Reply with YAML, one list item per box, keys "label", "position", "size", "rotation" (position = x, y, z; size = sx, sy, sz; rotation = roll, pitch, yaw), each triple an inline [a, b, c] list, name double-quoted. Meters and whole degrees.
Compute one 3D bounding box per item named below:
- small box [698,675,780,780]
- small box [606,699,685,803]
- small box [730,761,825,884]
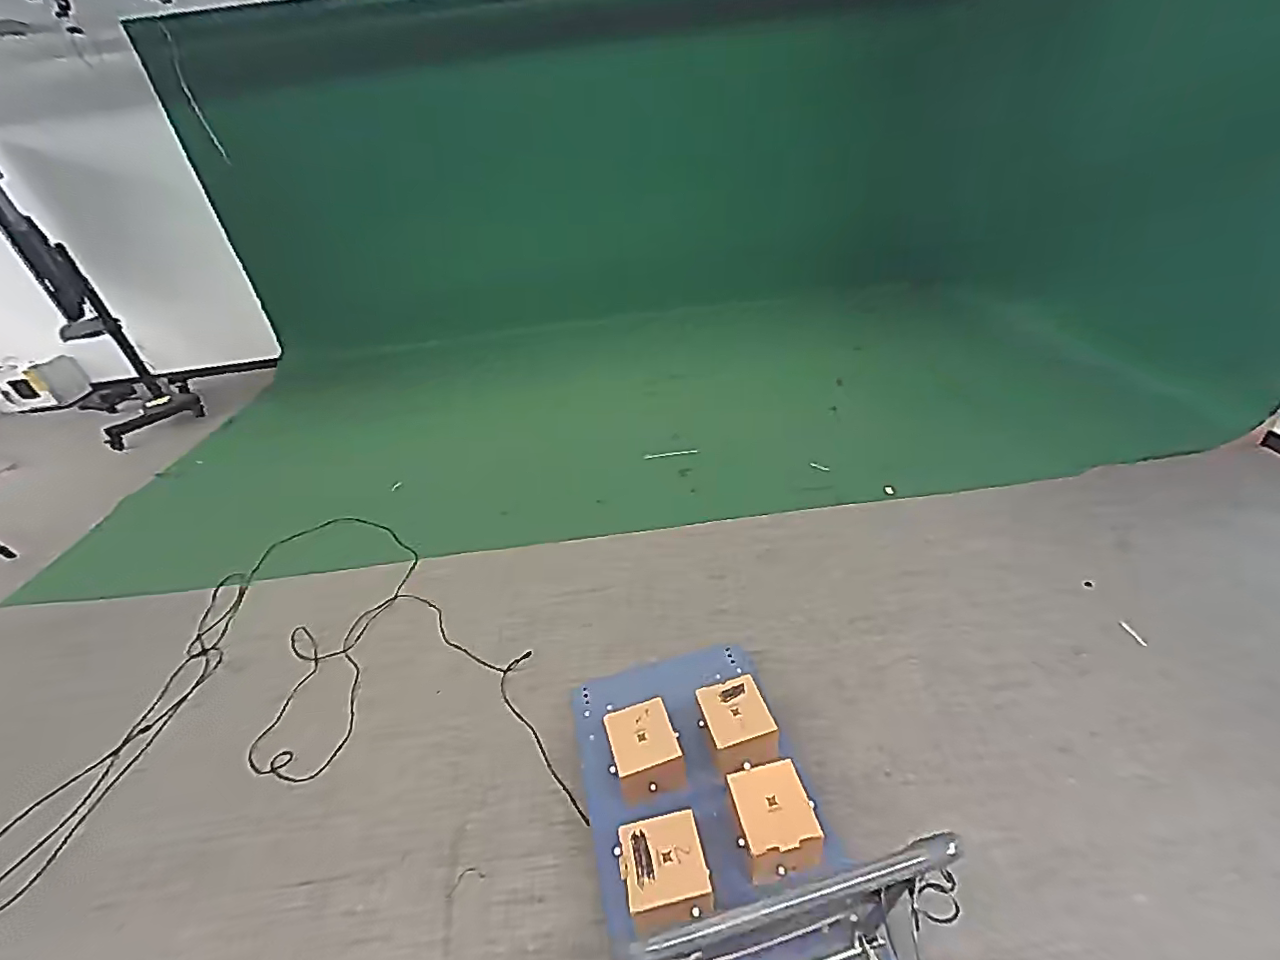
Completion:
- label: "small box"
  position: [0.264, 0.673, 1.473]
  size: [0.168, 0.176, 0.179]
  rotation: [-14, 36, -8]
- label: "small box"
  position: [0.016, 0.728, 1.442]
  size: [0.168, 0.176, 0.179]
  rotation: [-14, 36, -11]
- label: "small box"
  position: [0.315, 0.807, 1.277]
  size: [0.168, 0.176, 0.179]
  rotation: [-12, 36, -6]
